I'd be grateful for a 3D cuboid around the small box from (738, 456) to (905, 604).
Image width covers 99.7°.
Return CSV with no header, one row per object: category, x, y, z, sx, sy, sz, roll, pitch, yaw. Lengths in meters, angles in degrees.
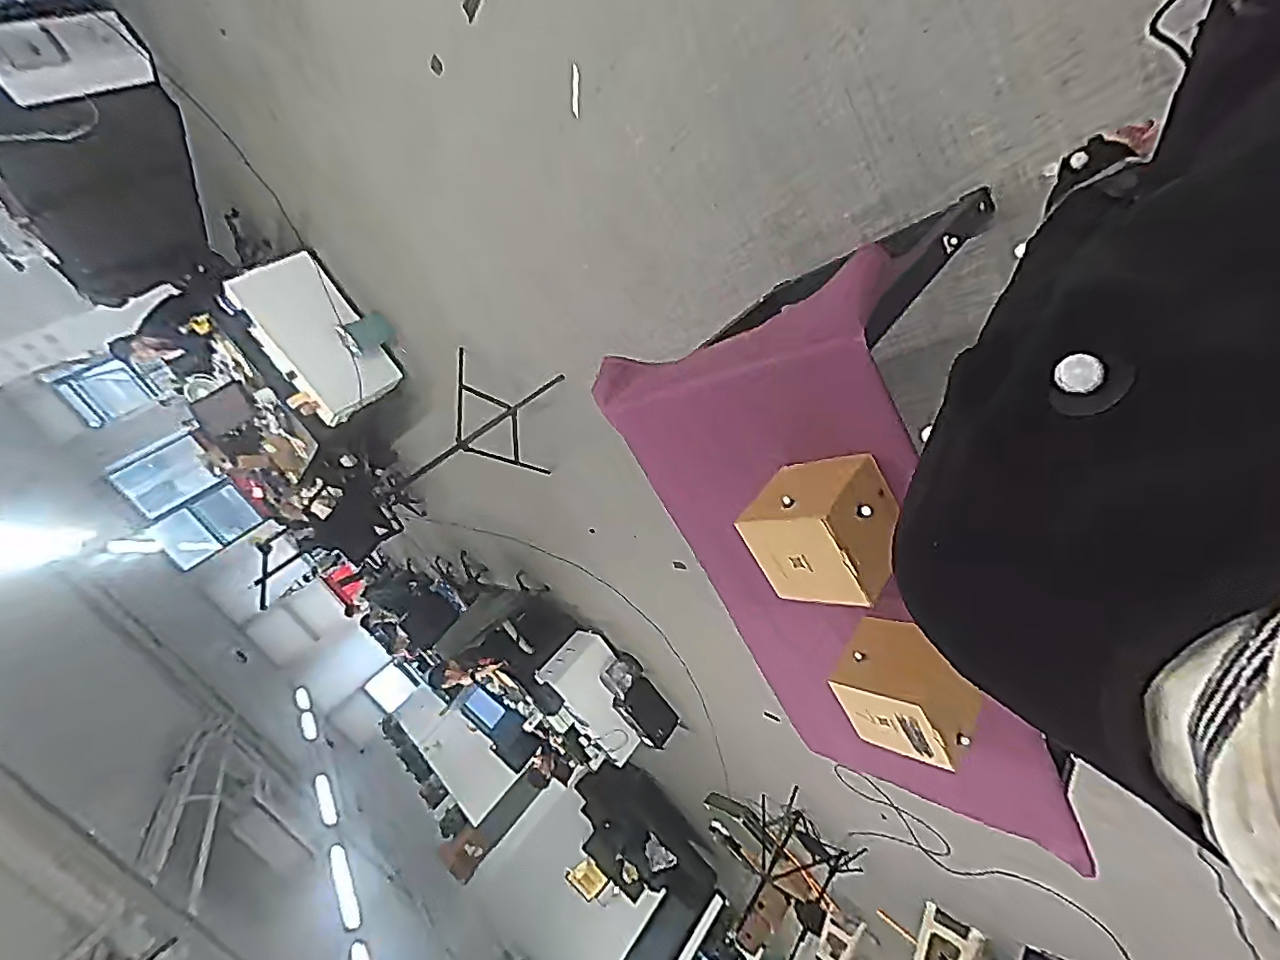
small box,0.300,0.077,0.873,0.179,0.176,0.168,-10,118,56
